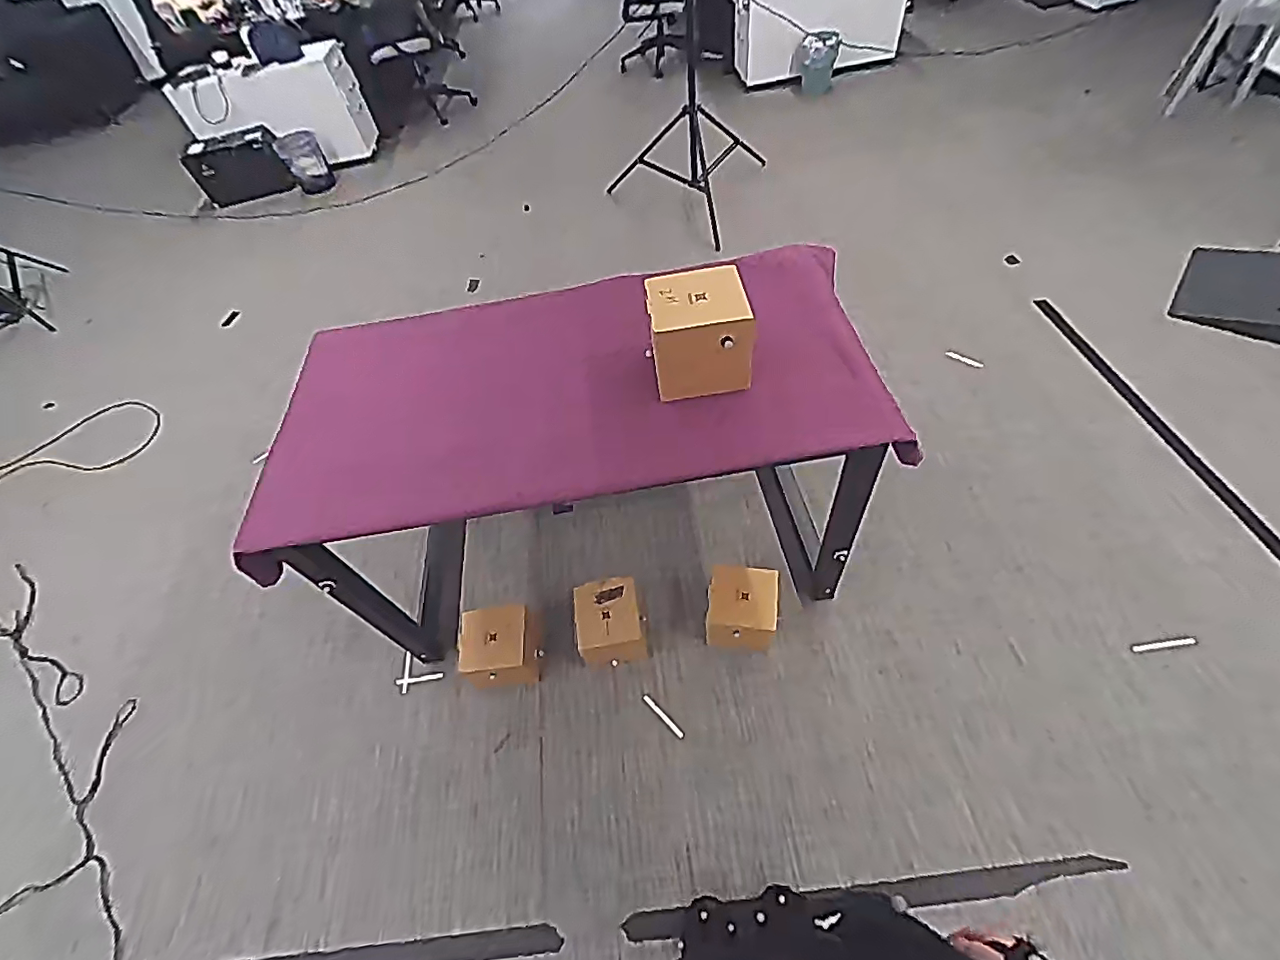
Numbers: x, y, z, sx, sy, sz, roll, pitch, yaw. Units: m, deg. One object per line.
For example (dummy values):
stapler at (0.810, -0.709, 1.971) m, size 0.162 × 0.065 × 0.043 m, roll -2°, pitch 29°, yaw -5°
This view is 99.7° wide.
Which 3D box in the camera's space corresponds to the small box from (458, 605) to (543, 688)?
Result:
small box at (-0.373, 0.460, 1.476) m, size 0.179 × 0.176 × 0.168 m, roll -7°, pitch 54°, yaw 2°

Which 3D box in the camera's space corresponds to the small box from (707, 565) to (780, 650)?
small box at (0.279, 0.348, 1.457) m, size 0.179 × 0.176 × 0.168 m, roll 4°, pitch 55°, yaw 13°

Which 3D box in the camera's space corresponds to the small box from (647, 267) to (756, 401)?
small box at (0.113, -0.272, 1.024) m, size 0.179 × 0.176 × 0.168 m, roll -8°, pitch 52°, yaw 3°

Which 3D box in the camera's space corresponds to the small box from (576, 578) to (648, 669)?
small box at (-0.075, 0.394, 1.475) m, size 0.168 × 0.176 × 0.179 m, roll -10°, pitch 54°, yaw 1°
